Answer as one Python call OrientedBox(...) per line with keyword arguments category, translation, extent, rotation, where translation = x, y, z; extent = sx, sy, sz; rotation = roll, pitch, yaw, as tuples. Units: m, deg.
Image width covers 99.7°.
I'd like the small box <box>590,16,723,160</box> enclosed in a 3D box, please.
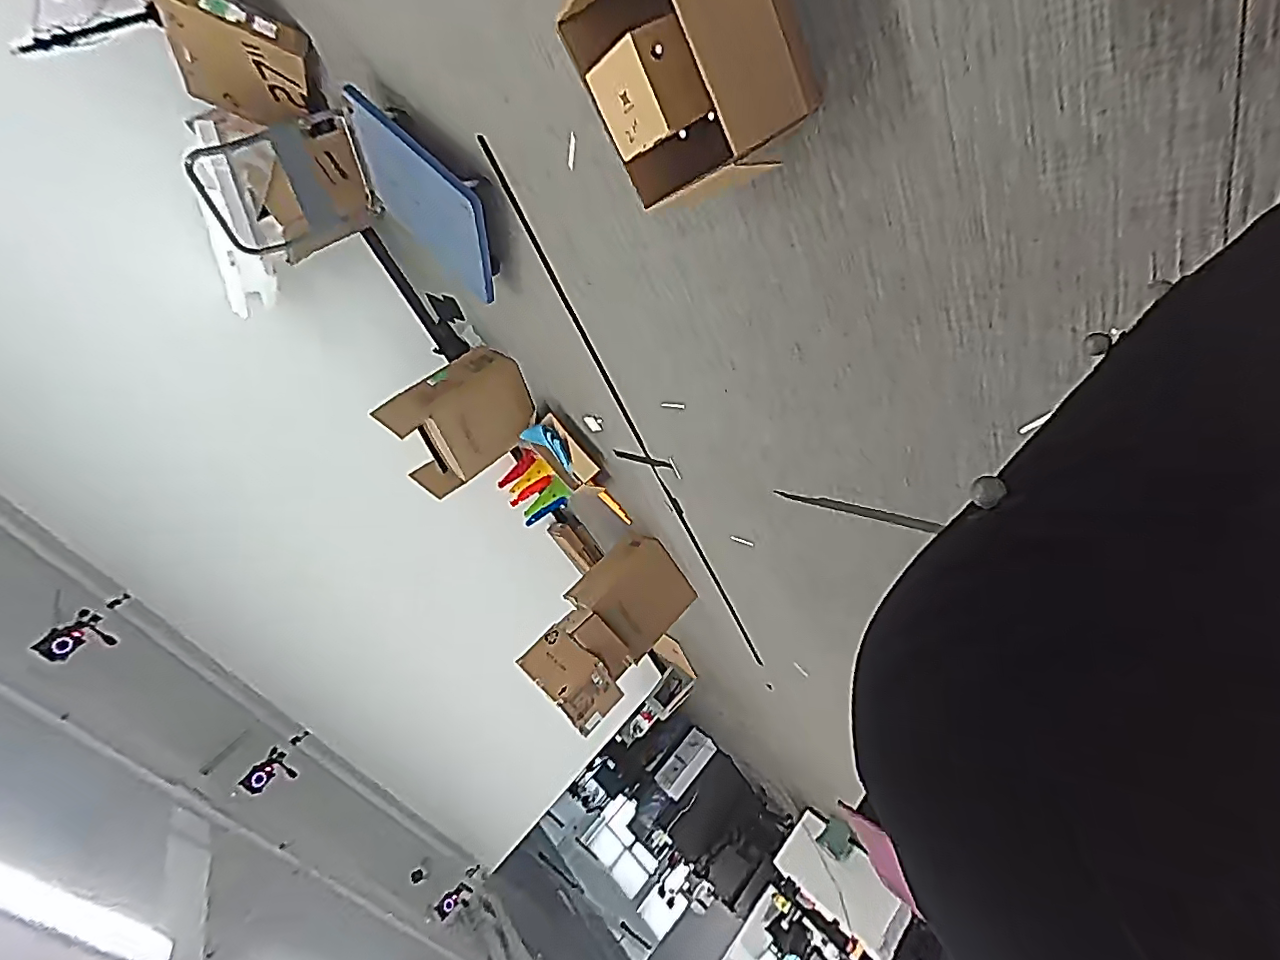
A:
OrientedBox(category="small box", translation=(0.037, -0.802, 1.106), extent=(0.168, 0.176, 0.179), rotation=(13, 139, 55))
